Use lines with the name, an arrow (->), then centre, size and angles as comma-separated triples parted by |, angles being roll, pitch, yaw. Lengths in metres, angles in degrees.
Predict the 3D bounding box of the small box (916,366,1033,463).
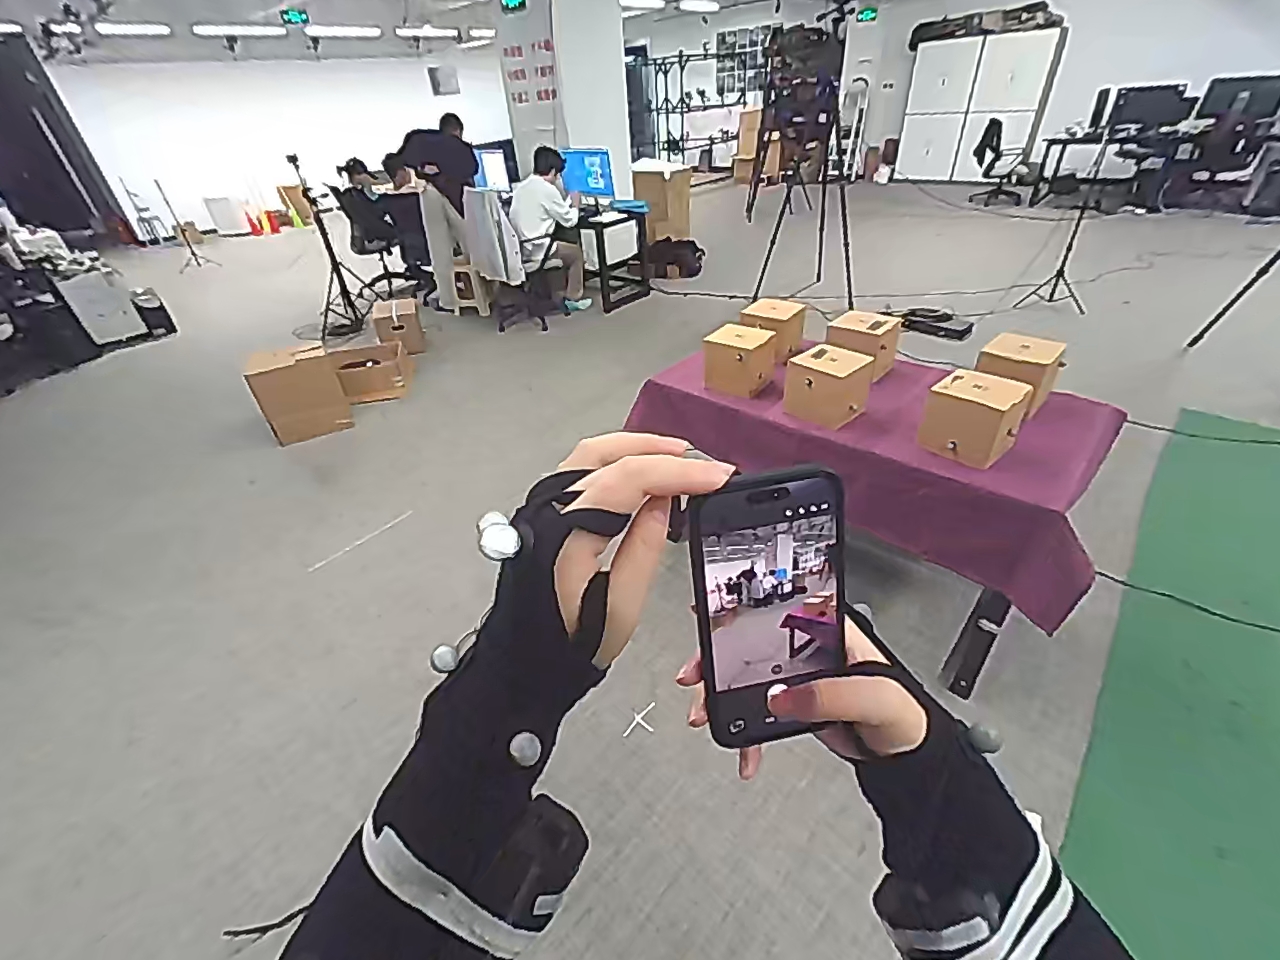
small box -> 0.834, -0.162, 1.361 | 0.168, 0.176, 0.179 | -29, 42, -30

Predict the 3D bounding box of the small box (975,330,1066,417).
small box -> 1.058, -0.303, 1.530 | 0.179, 0.176, 0.168 | -32, 43, -32

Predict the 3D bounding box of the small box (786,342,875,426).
small box -> 0.540, -0.276, 1.557 | 0.168, 0.176, 0.179 | -30, 43, -30

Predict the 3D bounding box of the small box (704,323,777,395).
small box -> 0.320, -0.392, 1.748 | 0.179, 0.176, 0.168 | 22, 43, 30
